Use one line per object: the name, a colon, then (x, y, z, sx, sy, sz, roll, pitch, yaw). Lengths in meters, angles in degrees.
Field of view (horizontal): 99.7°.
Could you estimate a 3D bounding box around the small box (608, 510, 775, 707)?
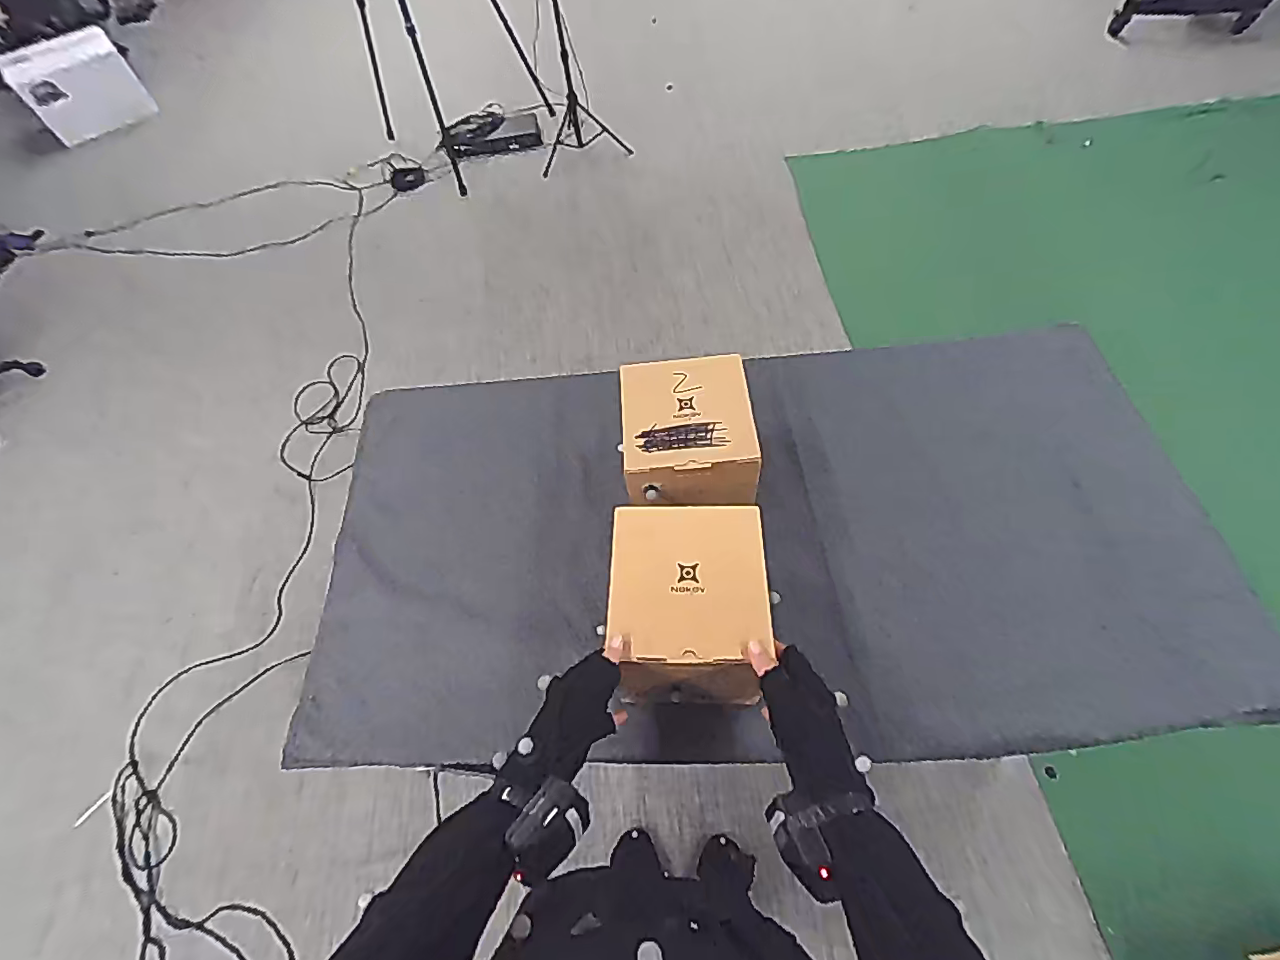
small box: (0.056, 0.152, 0.635, 0.168, 0.176, 0.179, 0, 55, 4)
